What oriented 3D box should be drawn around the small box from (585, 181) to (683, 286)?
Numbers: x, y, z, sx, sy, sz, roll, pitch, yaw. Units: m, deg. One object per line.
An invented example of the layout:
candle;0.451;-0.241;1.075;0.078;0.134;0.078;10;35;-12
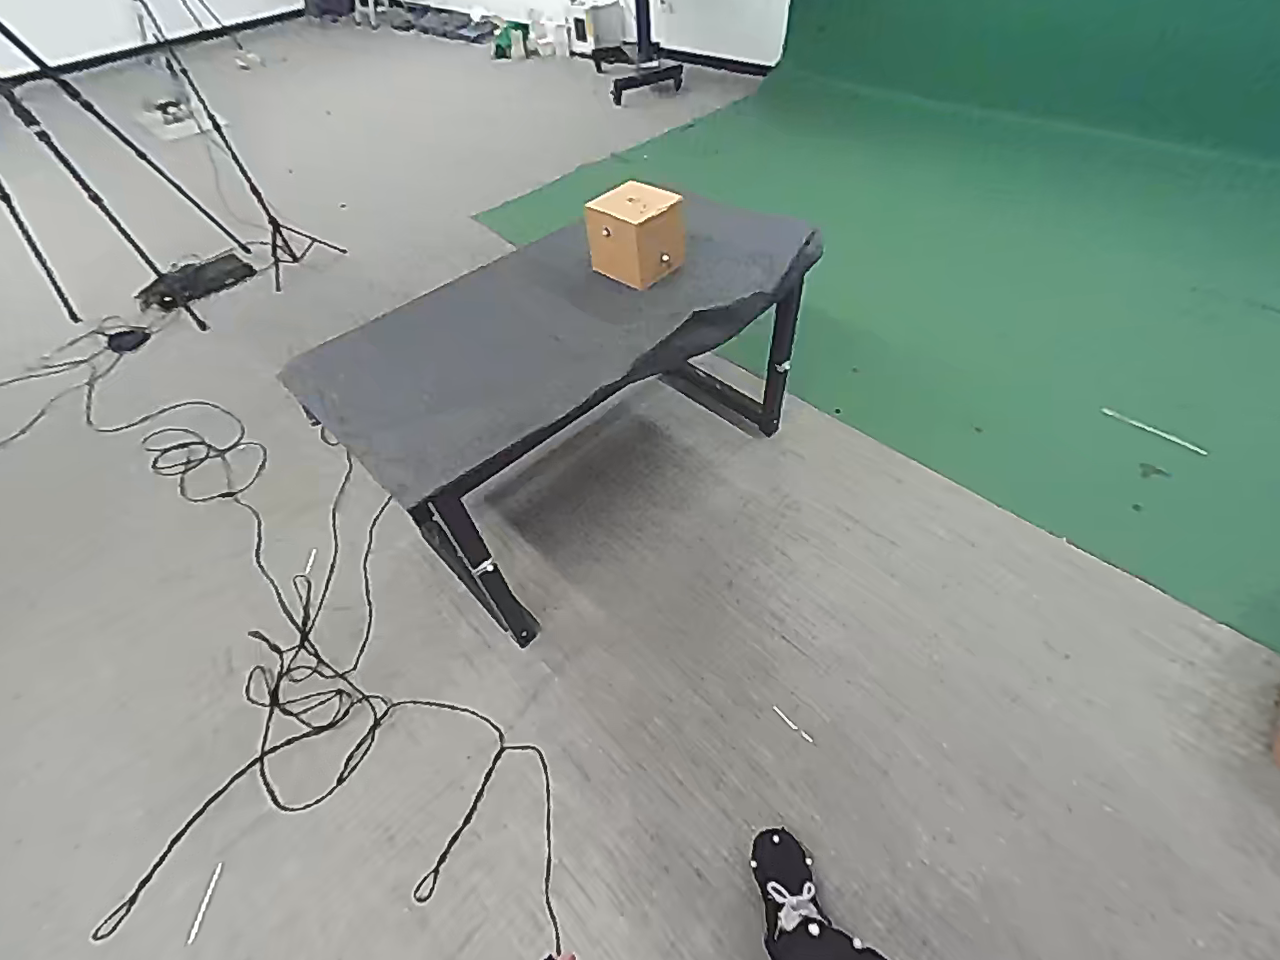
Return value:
small box;-0.011;-0.607;1.337;0.179;0.176;0.168;35;62;28
